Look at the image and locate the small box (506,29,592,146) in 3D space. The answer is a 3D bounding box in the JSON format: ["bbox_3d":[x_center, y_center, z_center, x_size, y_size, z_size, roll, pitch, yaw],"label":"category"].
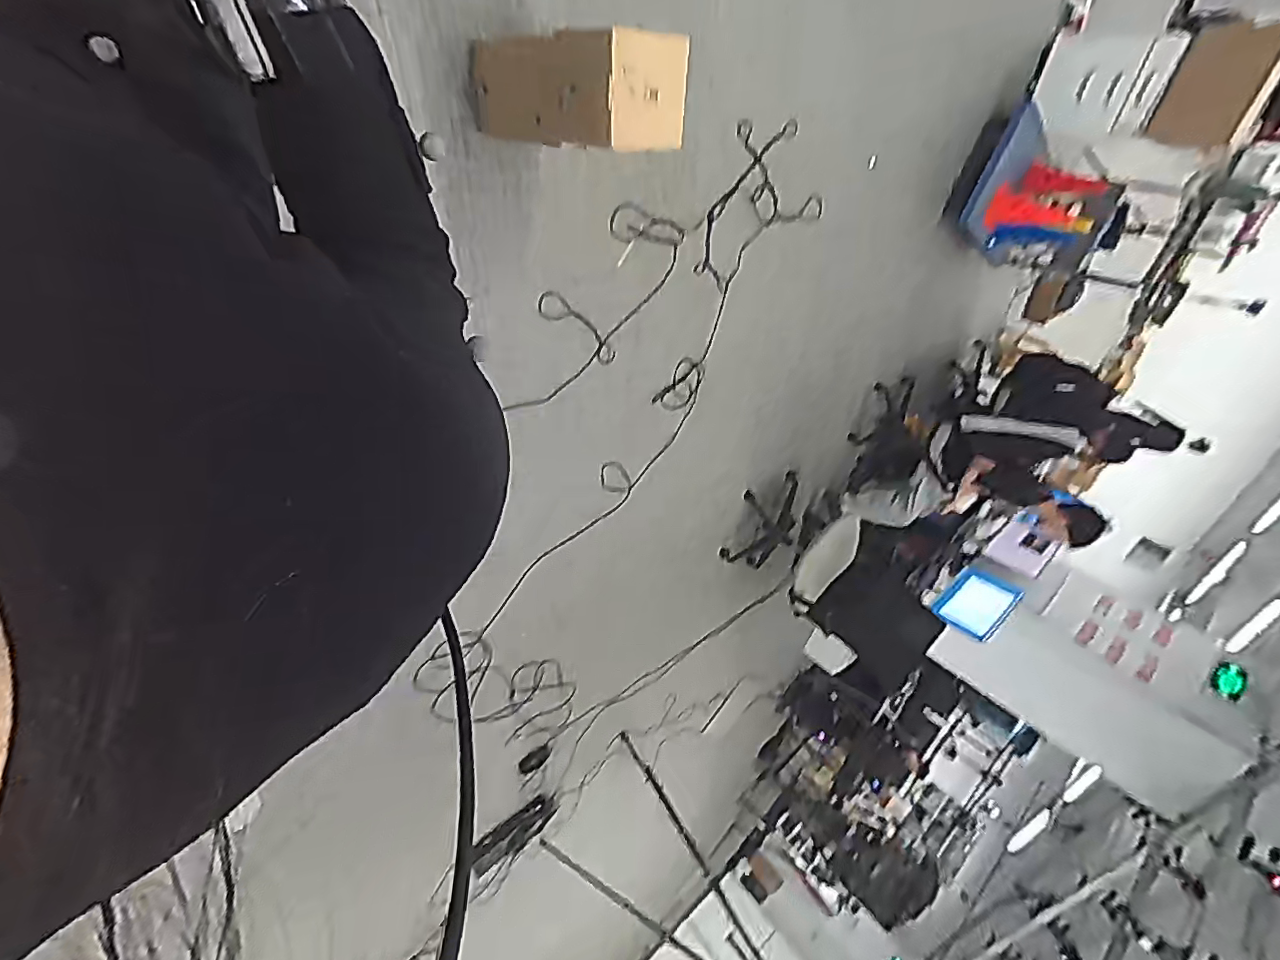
[{"bbox_3d":[-0.147,-0.778,1.076,0.168,0.176,0.179,-27,135,-33],"label":"small box"}]

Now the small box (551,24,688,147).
[{"bbox_3d":[-0.040,-0.706,0.973,0.179,0.176,0.168,-25,135,-33],"label":"small box"}]

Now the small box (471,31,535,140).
[{"bbox_3d":[-0.250,-0.855,1.176,0.168,0.176,0.179,-24,135,-34],"label":"small box"}]
